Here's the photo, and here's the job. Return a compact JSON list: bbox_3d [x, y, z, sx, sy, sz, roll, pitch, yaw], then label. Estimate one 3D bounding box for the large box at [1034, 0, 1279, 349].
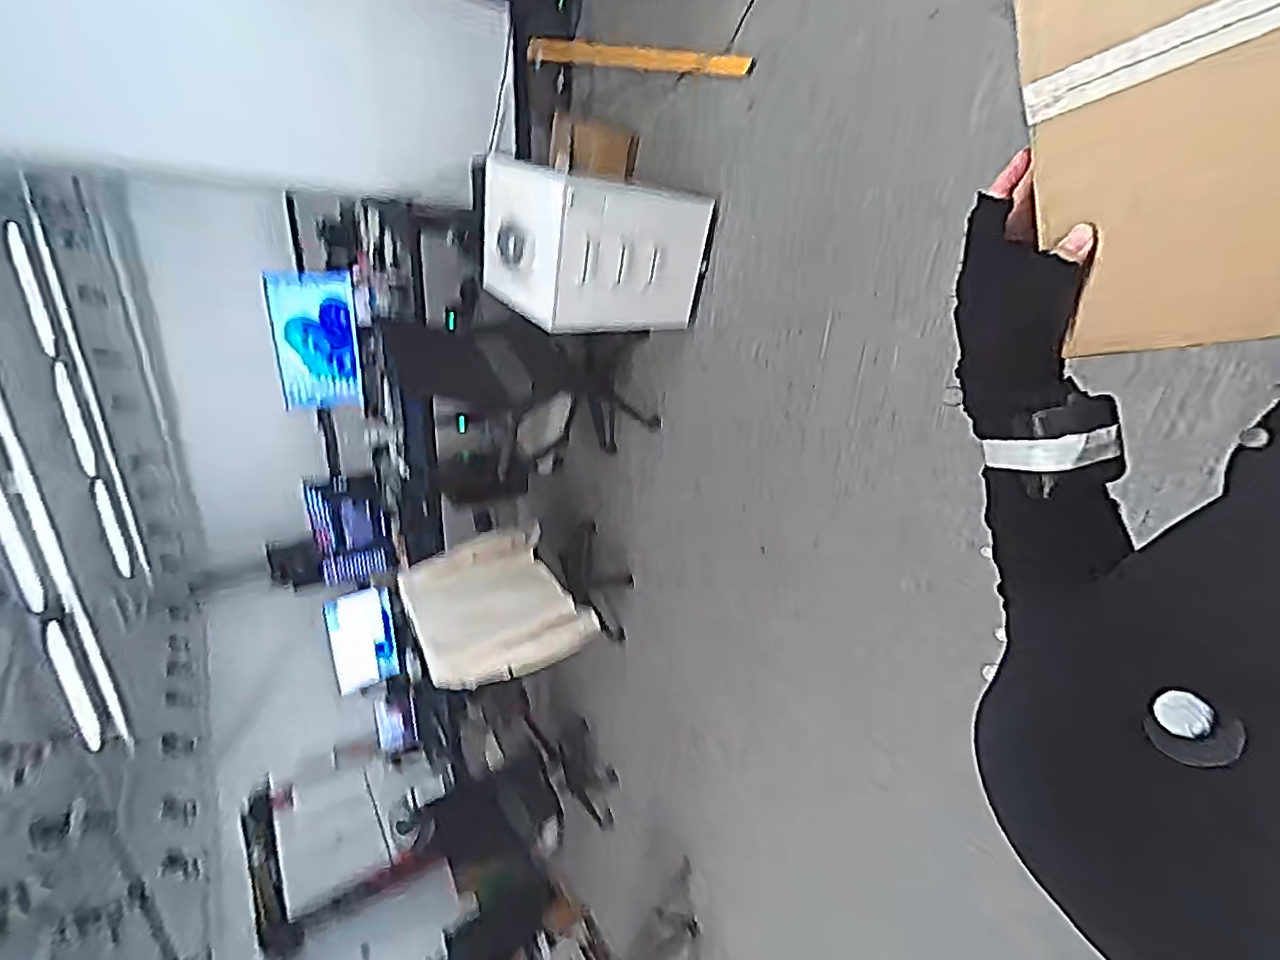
[{"bbox_3d":[0.468,-0.280,0.248,0.408,0.320,0.320,7,124,52],"label":"large box"}]
